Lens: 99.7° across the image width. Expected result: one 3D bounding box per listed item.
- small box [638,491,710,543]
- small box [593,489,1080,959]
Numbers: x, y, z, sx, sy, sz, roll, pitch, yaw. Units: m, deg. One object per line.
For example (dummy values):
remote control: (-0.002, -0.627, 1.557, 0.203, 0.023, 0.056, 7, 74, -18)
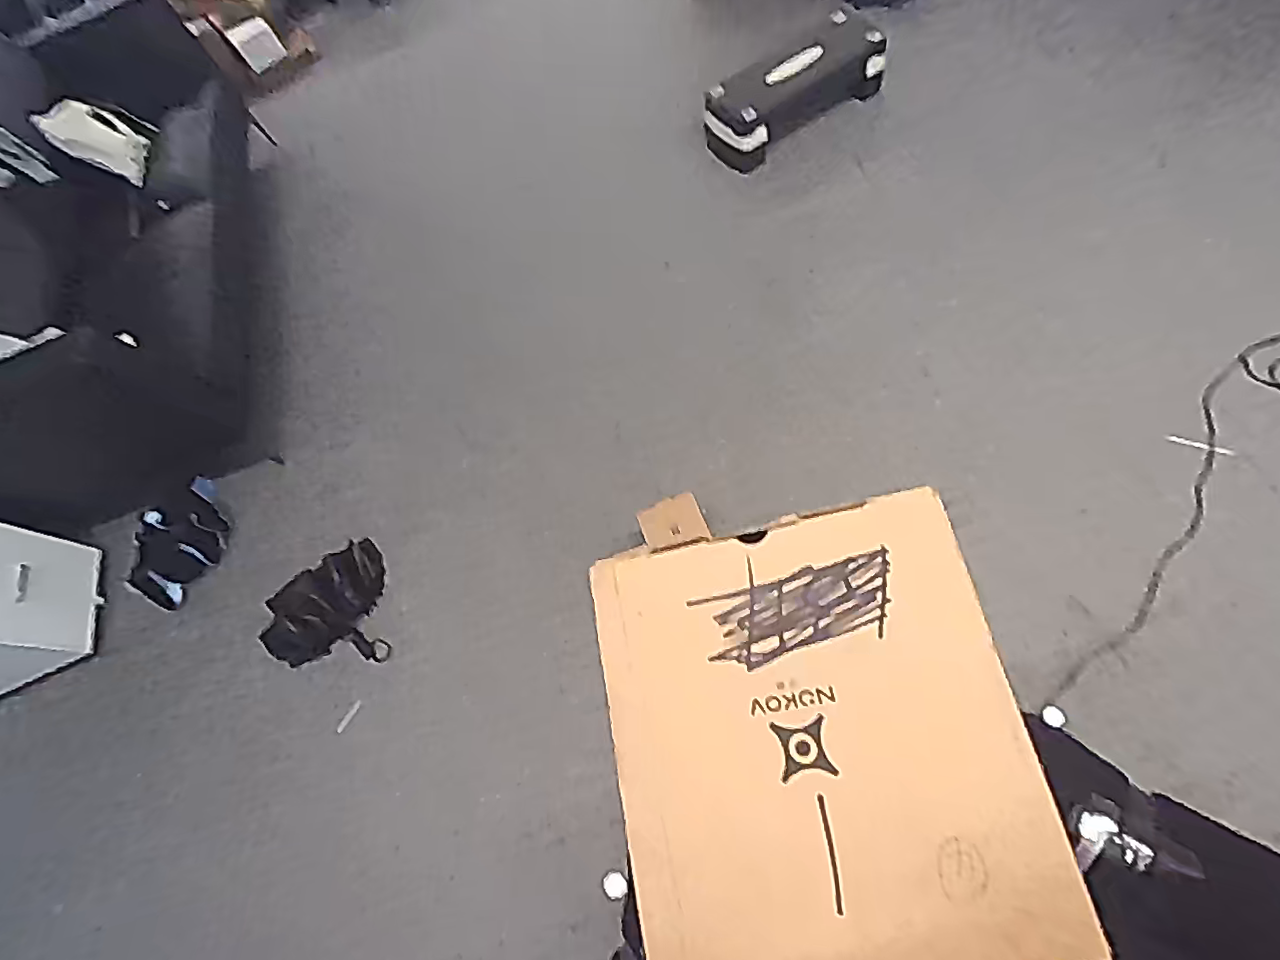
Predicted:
small box: (0.113, 0.163, 1.504, 0.168, 0.176, 0.179, -25, 64, 3)
small box: (0.085, 0.124, 0.307, 0.168, 0.176, 0.179, -14, 71, 12)
